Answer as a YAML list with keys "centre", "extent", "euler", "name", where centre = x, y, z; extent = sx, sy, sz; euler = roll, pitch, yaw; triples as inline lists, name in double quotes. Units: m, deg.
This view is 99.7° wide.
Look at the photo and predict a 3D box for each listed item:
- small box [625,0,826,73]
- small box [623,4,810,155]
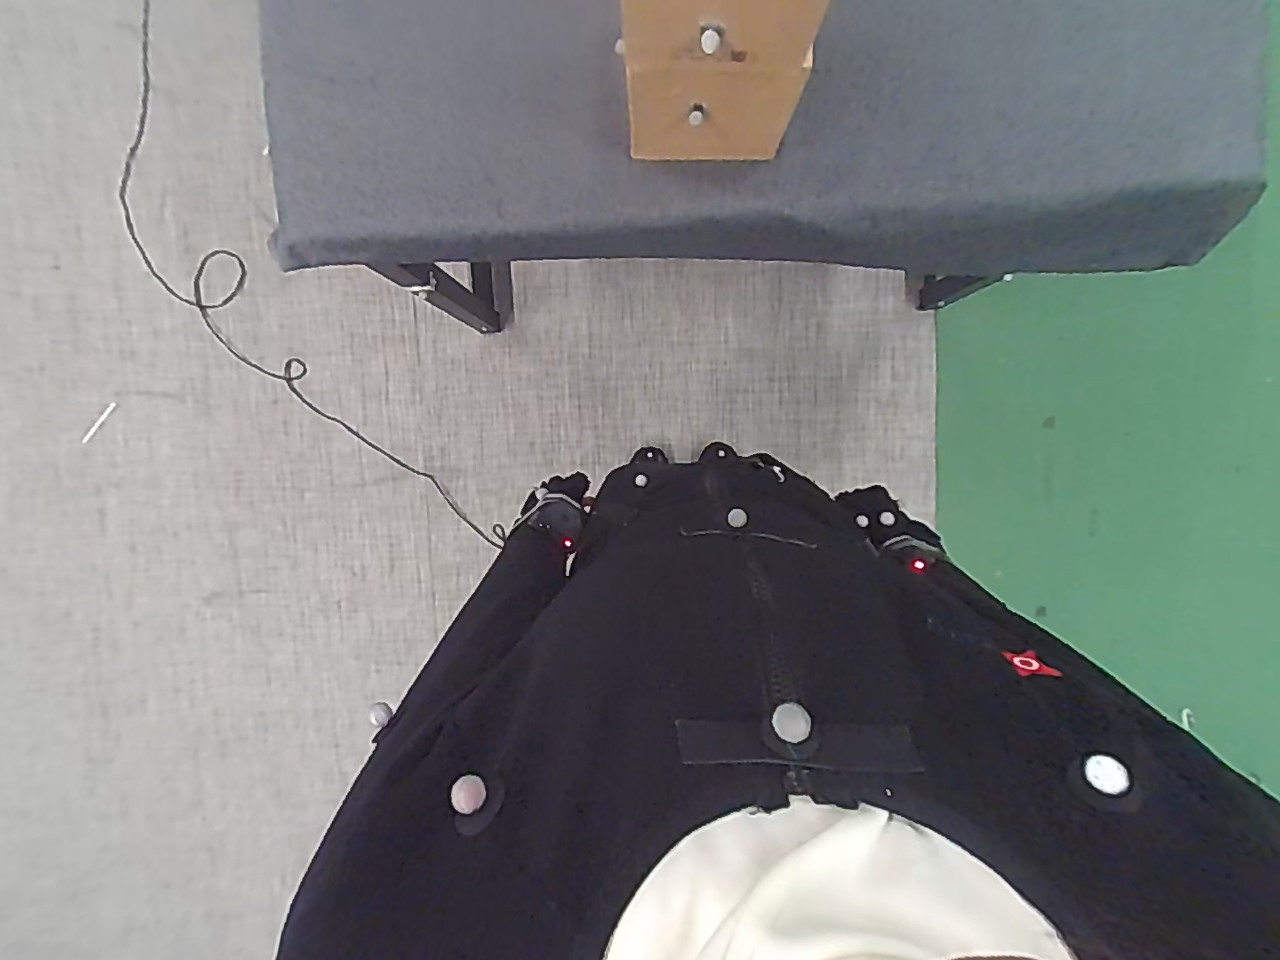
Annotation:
- centre: [0.073, -0.466, 0.417]
  extent: [0.168, 0.176, 0.179]
  euler: [5, 95, 1]
  name: "small box"
- centre: [0.077, -0.475, 0.581]
  extent: [0.179, 0.176, 0.168]
  euler: [1, 94, 1]
  name: "small box"
